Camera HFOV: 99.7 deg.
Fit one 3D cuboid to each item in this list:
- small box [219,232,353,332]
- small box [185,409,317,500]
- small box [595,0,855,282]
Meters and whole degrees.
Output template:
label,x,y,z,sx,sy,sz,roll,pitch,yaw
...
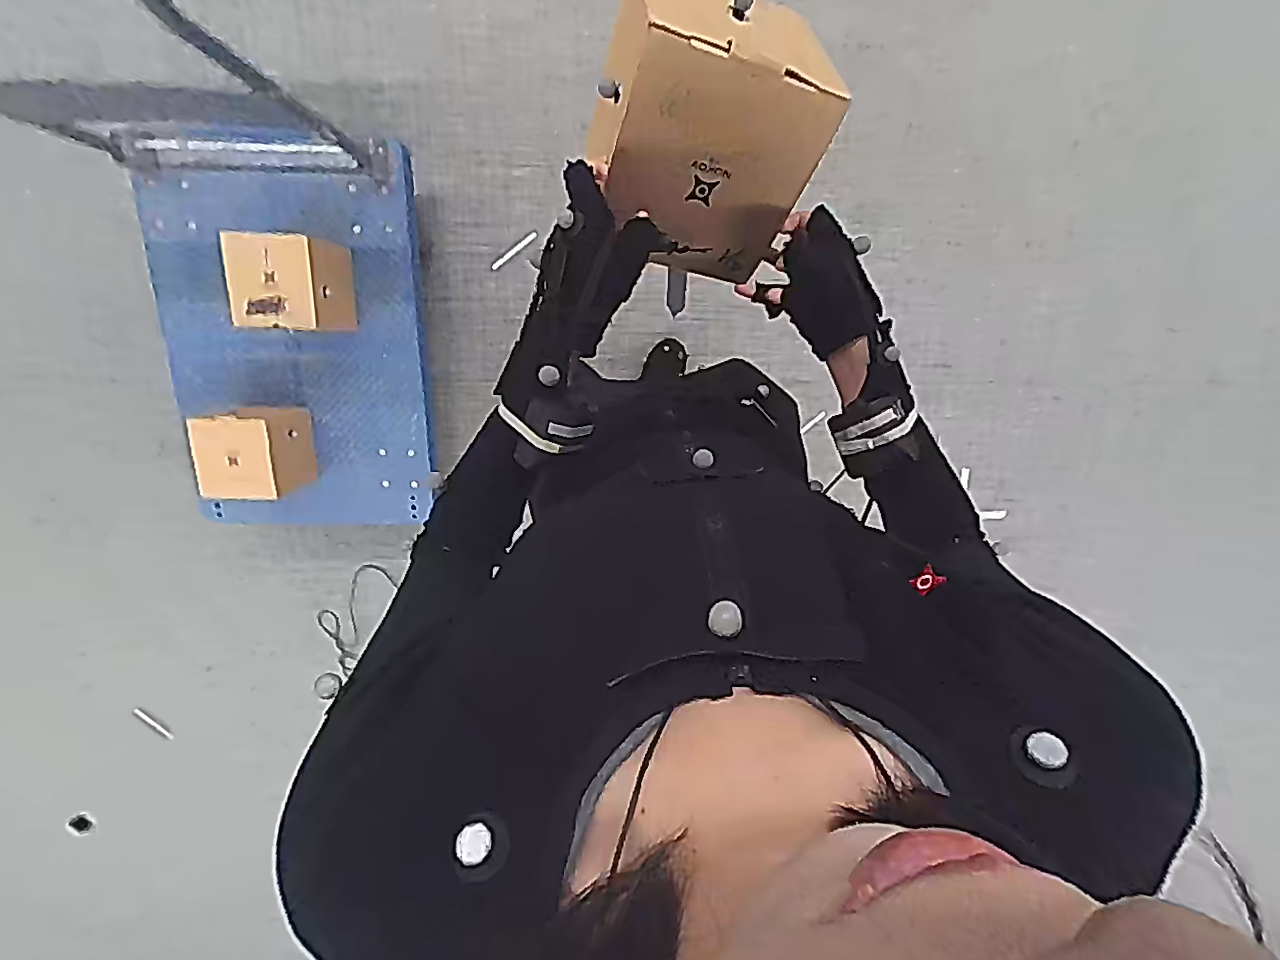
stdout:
label,x,y,z,sx,sy,sz,roll,pitch,yaw
small box,-0.721,-0.403,1.125,0.168,0.176,0.179,2,105,-2
small box,-0.862,-0.064,1.216,0.168,0.176,0.179,1,106,-1
small box,0.056,-0.321,0.493,0.168,0.176,0.179,8,145,-17
